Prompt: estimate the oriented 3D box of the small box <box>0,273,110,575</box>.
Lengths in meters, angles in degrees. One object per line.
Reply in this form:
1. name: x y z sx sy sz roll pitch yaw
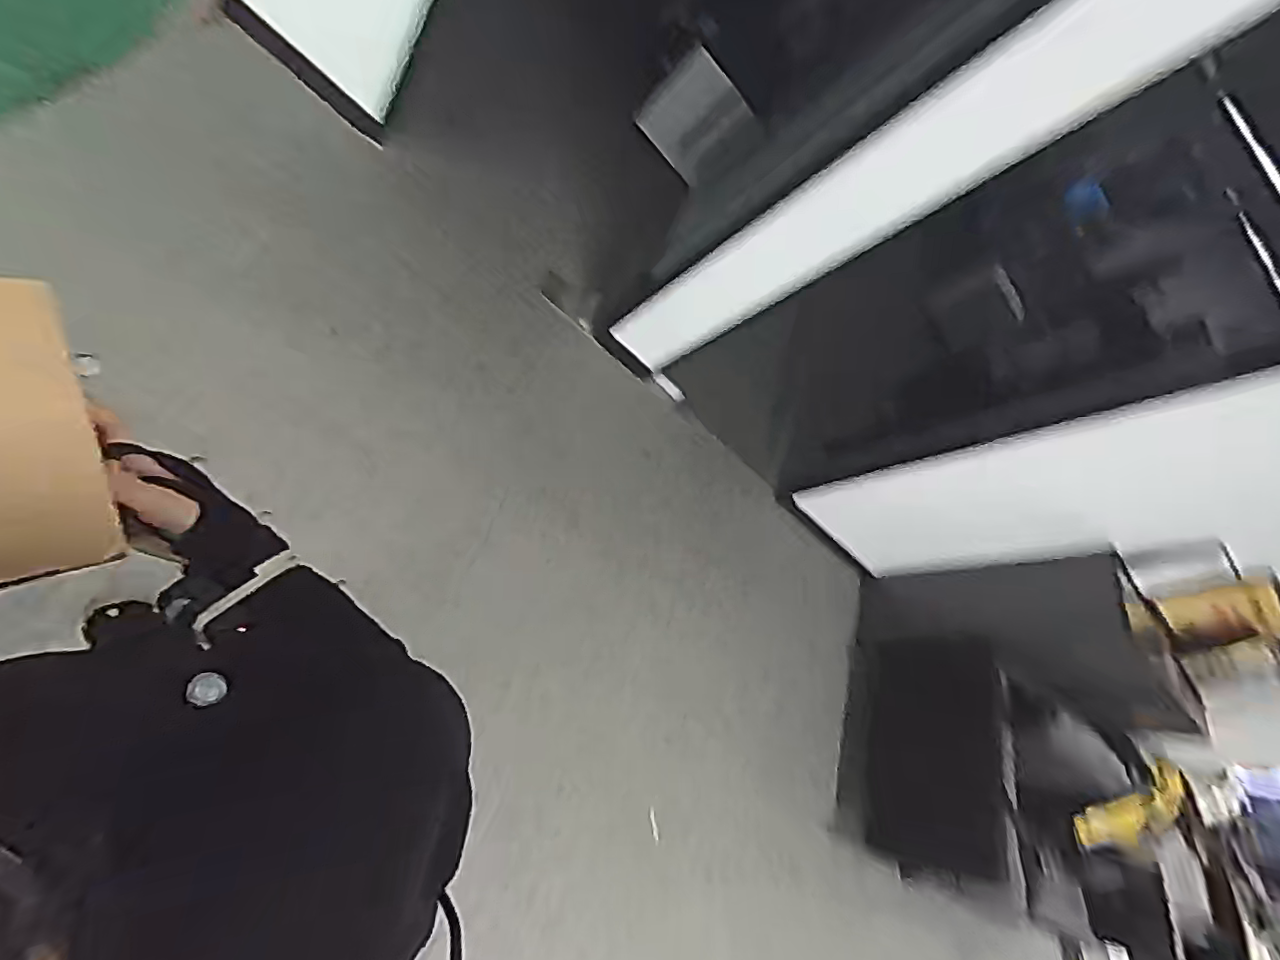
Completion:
1. small box: -0.465 -0.021 0.323 0.168 0.176 0.179 -18 104 -51
